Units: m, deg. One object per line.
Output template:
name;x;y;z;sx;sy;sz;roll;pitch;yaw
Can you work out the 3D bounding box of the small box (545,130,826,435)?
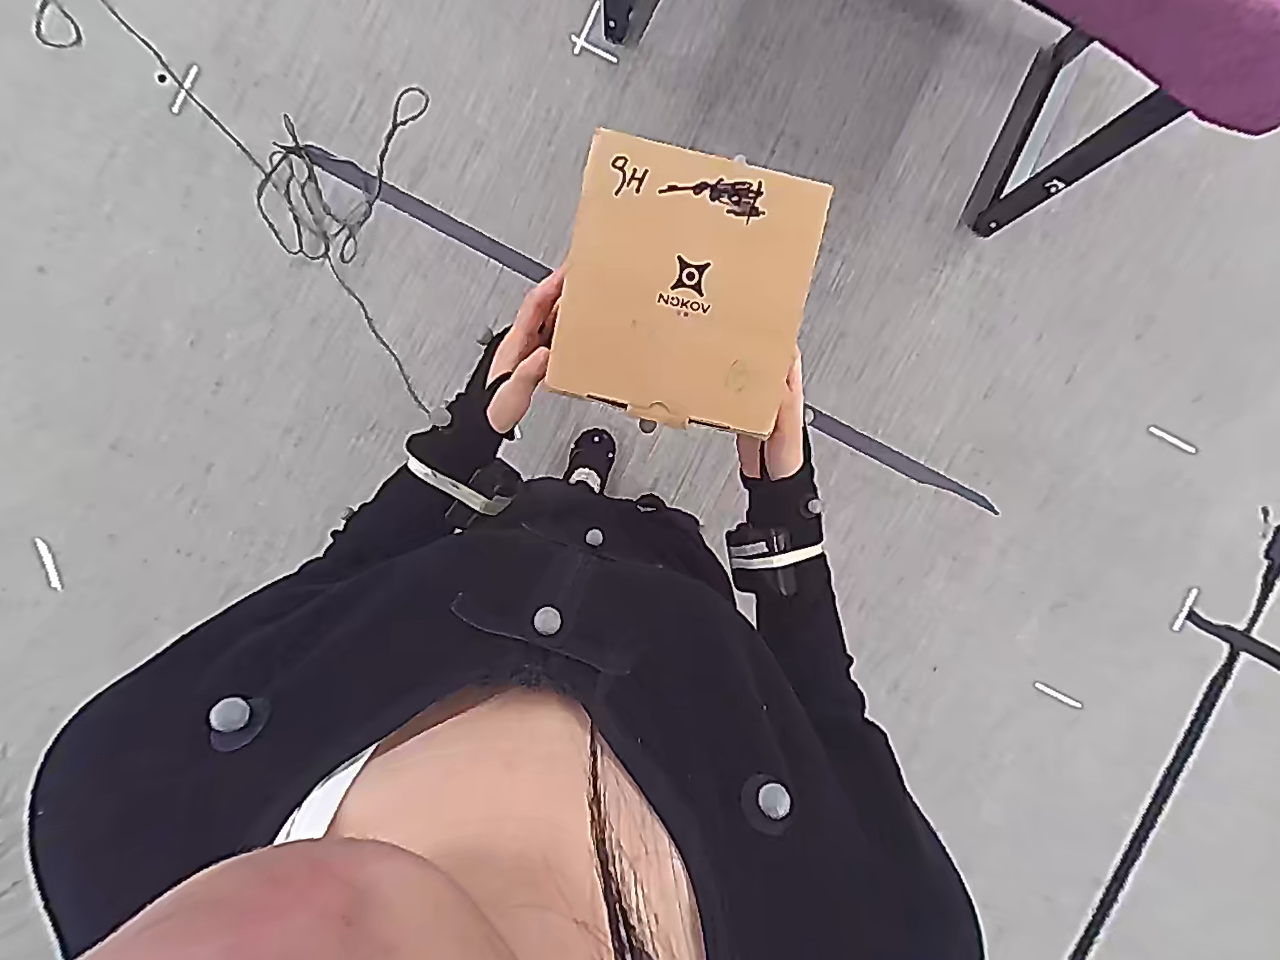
small box;0.029;-0.144;0.454;0.168;0.176;0.179;12;98;-3
